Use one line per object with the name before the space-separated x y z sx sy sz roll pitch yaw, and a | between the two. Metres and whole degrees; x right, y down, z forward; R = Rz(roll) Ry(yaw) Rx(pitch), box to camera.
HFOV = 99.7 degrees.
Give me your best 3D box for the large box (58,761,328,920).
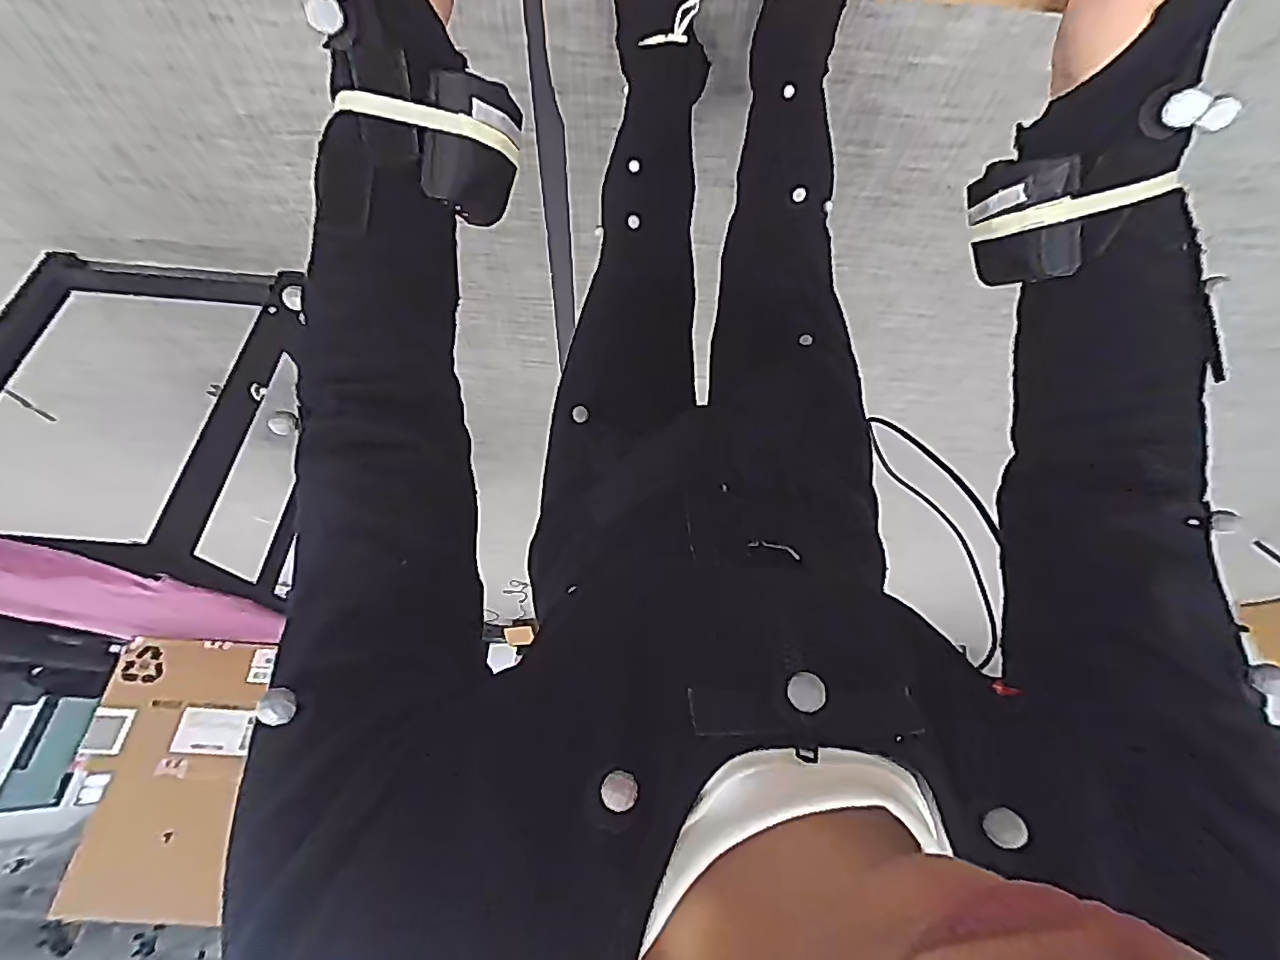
large box | -1.138 0.930 1.436 0.408 0.320 0.320 3 155 -2
